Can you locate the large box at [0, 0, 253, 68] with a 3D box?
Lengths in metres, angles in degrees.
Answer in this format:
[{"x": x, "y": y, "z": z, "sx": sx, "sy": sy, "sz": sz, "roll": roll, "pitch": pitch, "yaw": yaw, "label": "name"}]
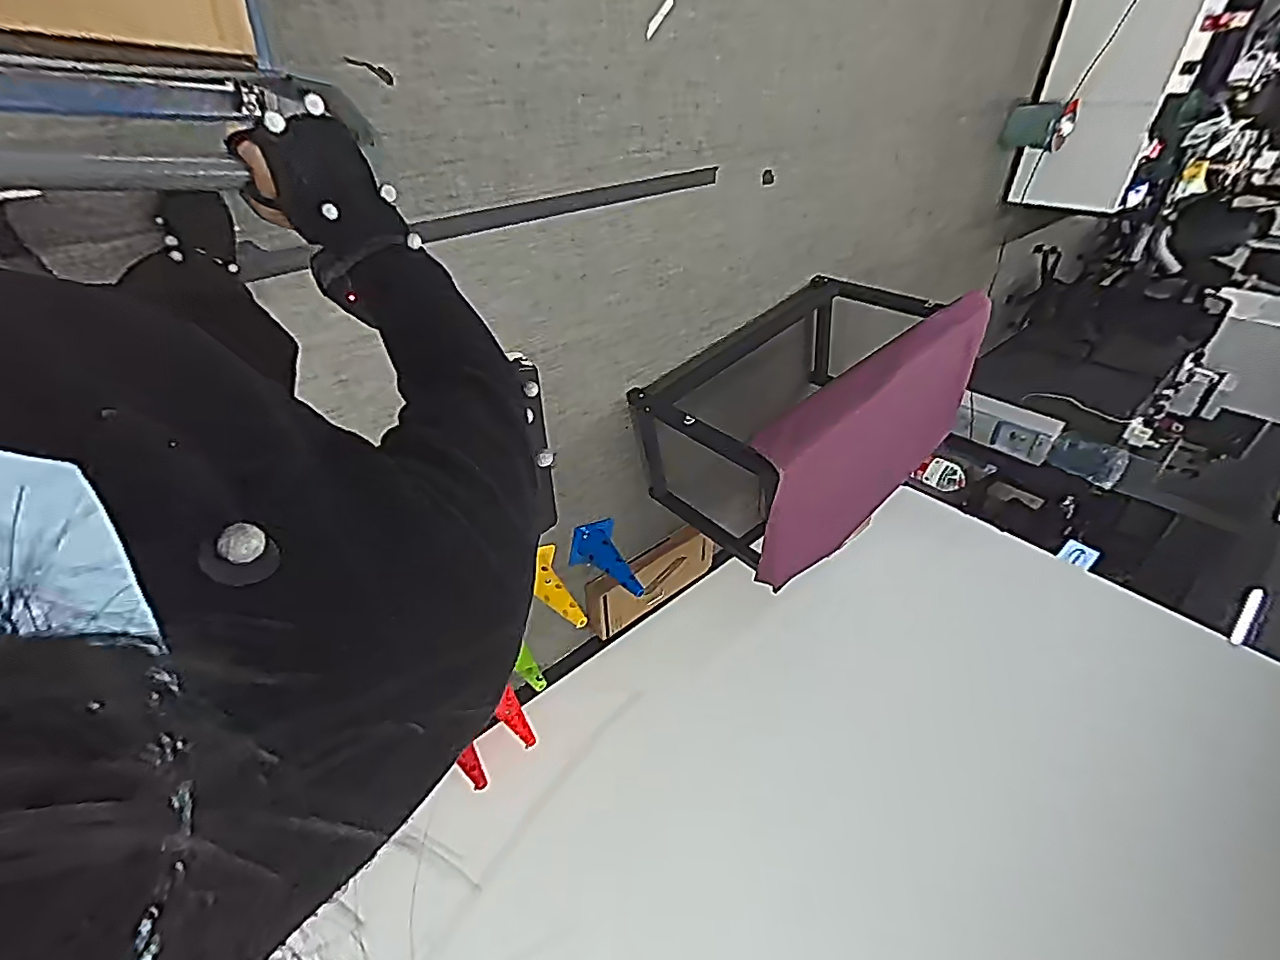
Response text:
[{"x": -0.733, "y": -0.664, "z": 0.589, "sx": 0.408, "sy": 0.320, "sz": 0.320, "roll": -23, "pitch": 132, "yaw": -35, "label": "large box"}]
